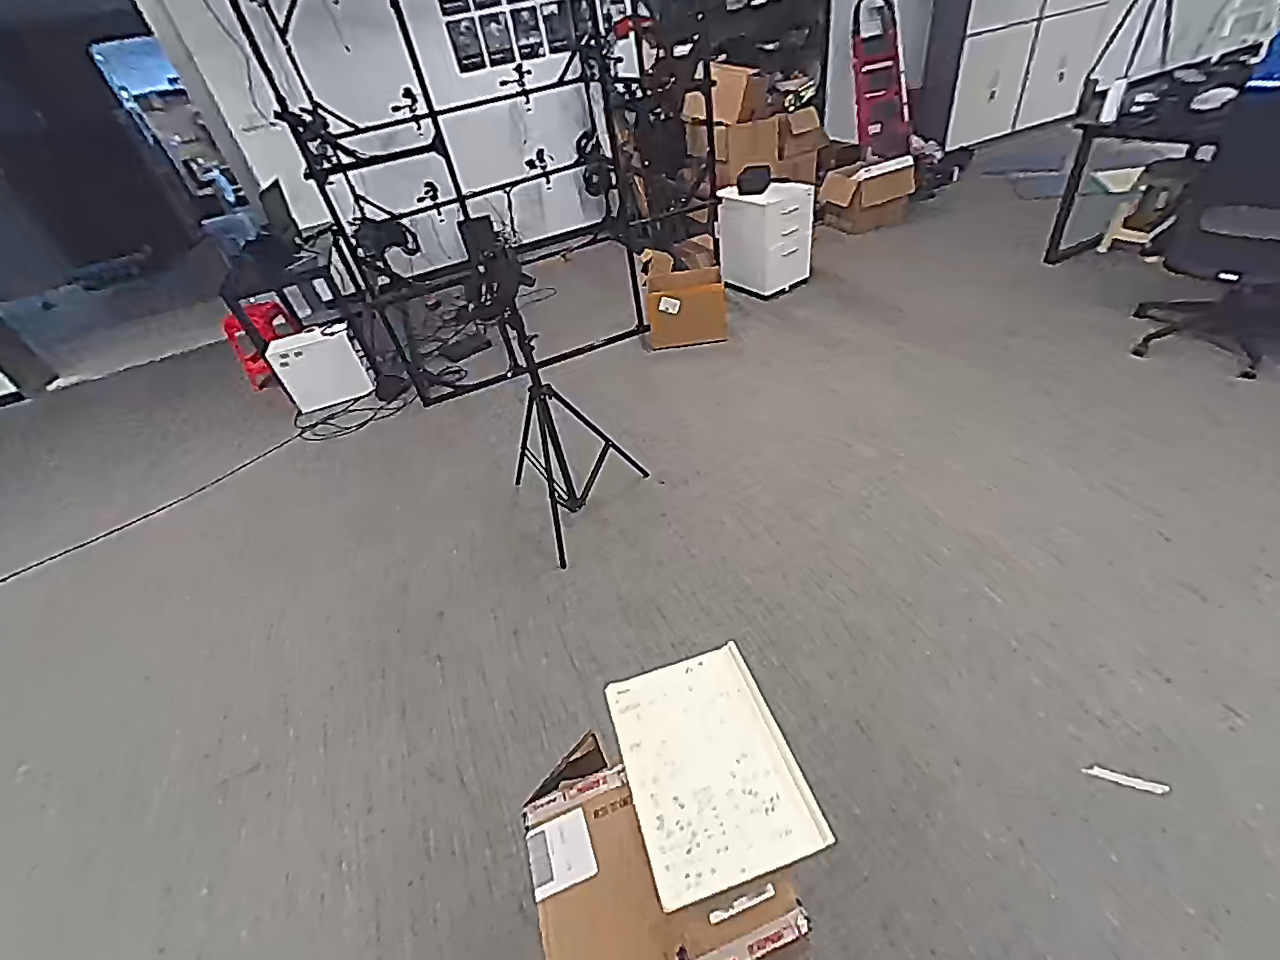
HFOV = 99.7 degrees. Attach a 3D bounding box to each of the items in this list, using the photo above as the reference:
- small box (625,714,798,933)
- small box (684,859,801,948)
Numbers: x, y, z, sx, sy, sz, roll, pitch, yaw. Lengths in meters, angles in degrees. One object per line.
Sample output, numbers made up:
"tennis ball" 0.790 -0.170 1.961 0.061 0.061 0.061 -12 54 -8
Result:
"small box" 0.085 0.450 0.713 0.168 0.176 0.179 -15 42 -9
"small box" 0.121 0.567 0.825 0.179 0.176 0.168 -19 41 -11
